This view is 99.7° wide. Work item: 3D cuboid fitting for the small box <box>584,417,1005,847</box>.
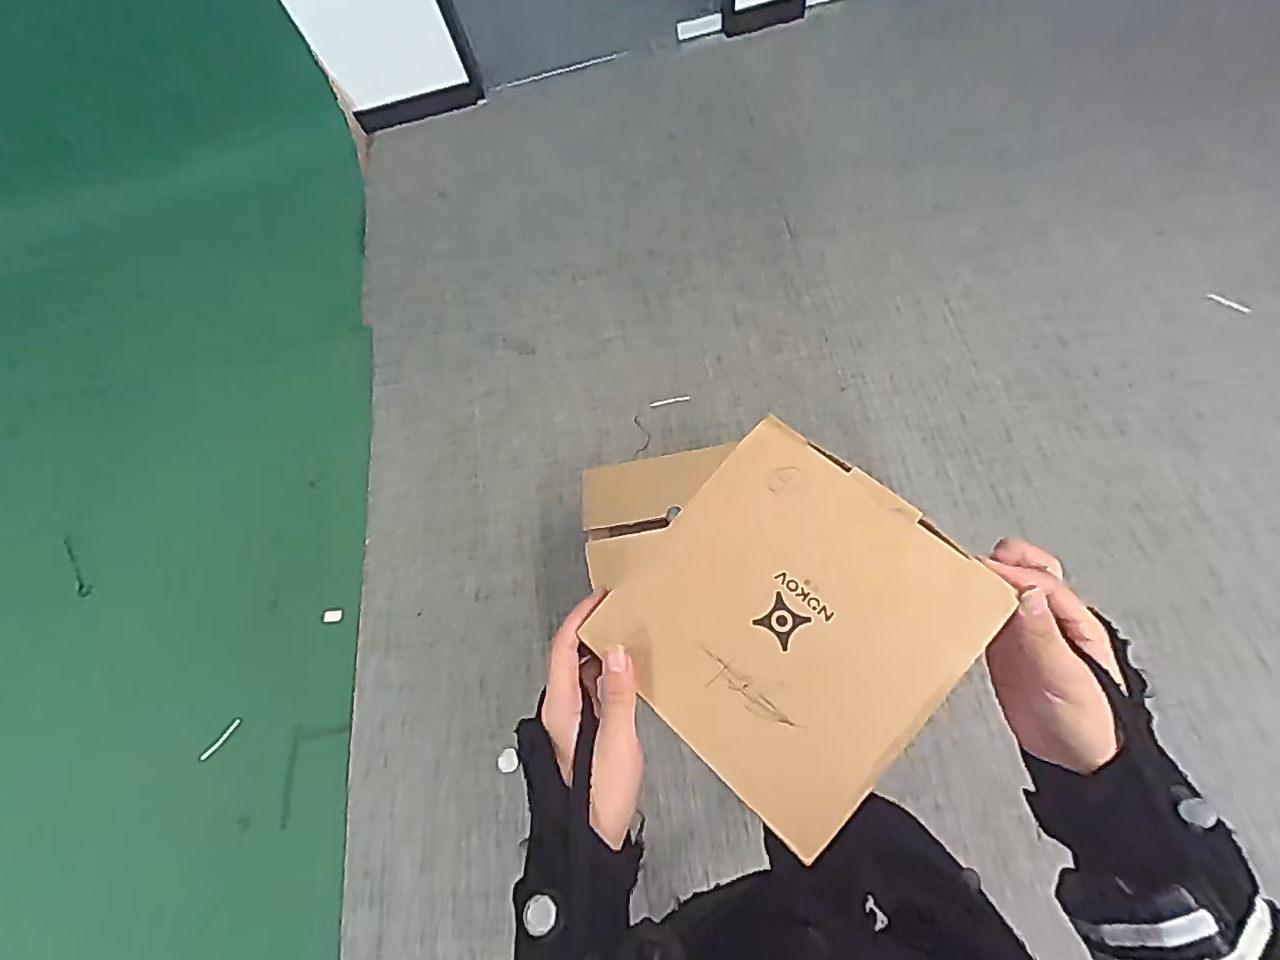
[{"bbox_3d":[0.094,0.093,0.377,0.168,0.176,0.179,39,86,20],"label":"small box"}]
